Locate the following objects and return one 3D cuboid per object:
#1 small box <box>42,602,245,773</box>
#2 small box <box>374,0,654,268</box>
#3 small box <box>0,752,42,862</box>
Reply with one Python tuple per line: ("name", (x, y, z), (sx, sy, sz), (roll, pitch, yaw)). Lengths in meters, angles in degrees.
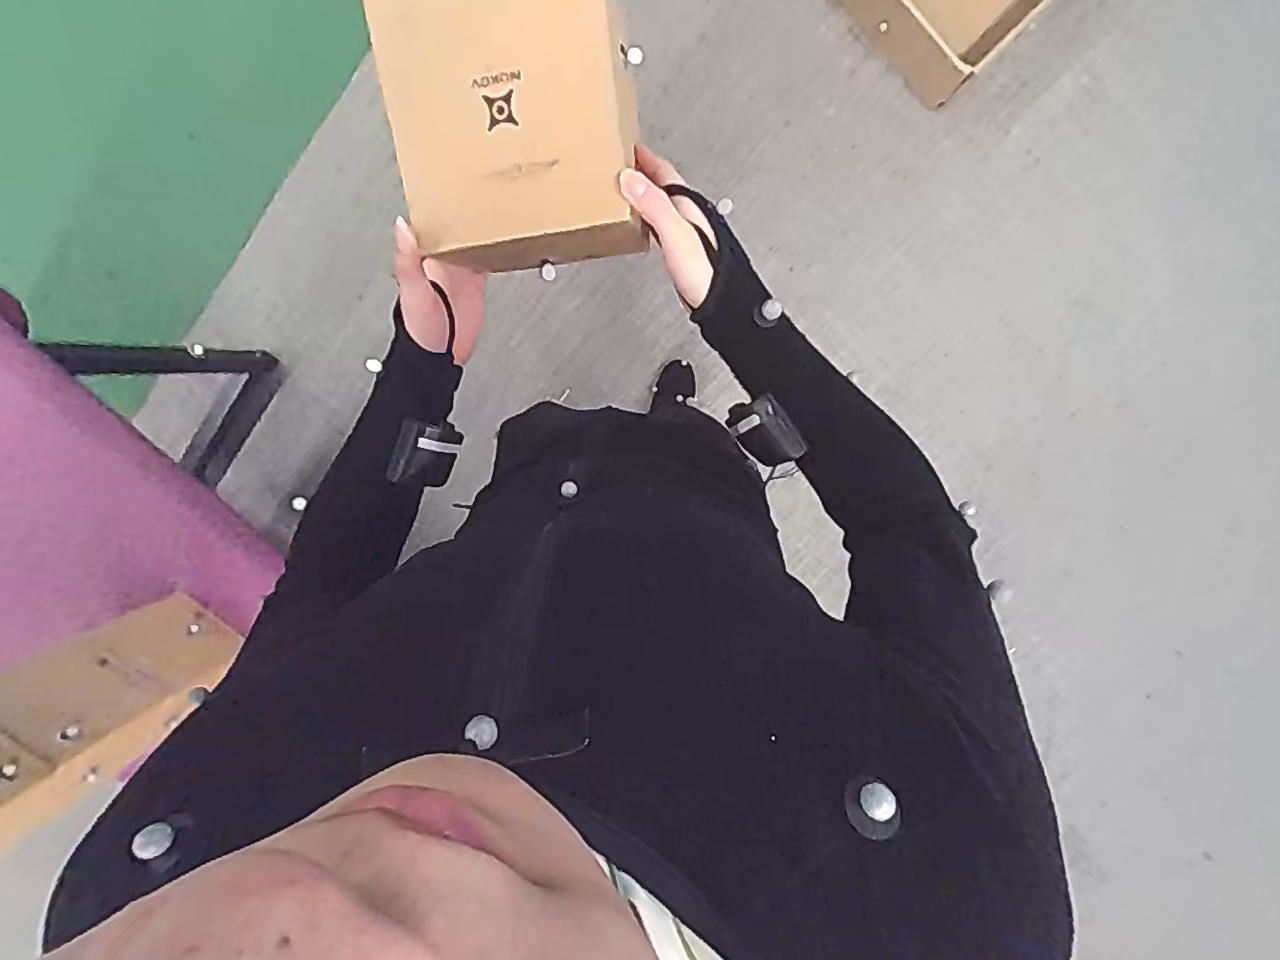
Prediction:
("small box", (-0.841, 0.348, 0.935), (0.168, 0.176, 0.179), (39, 101, -3))
("small box", (-0.082, -0.283, 0.443), (0.168, 0.176, 0.179), (-4, 105, 8))
("small box", (-0.859, 0.408, 0.612), (0.168, 0.176, 0.179), (39, 103, -3))
